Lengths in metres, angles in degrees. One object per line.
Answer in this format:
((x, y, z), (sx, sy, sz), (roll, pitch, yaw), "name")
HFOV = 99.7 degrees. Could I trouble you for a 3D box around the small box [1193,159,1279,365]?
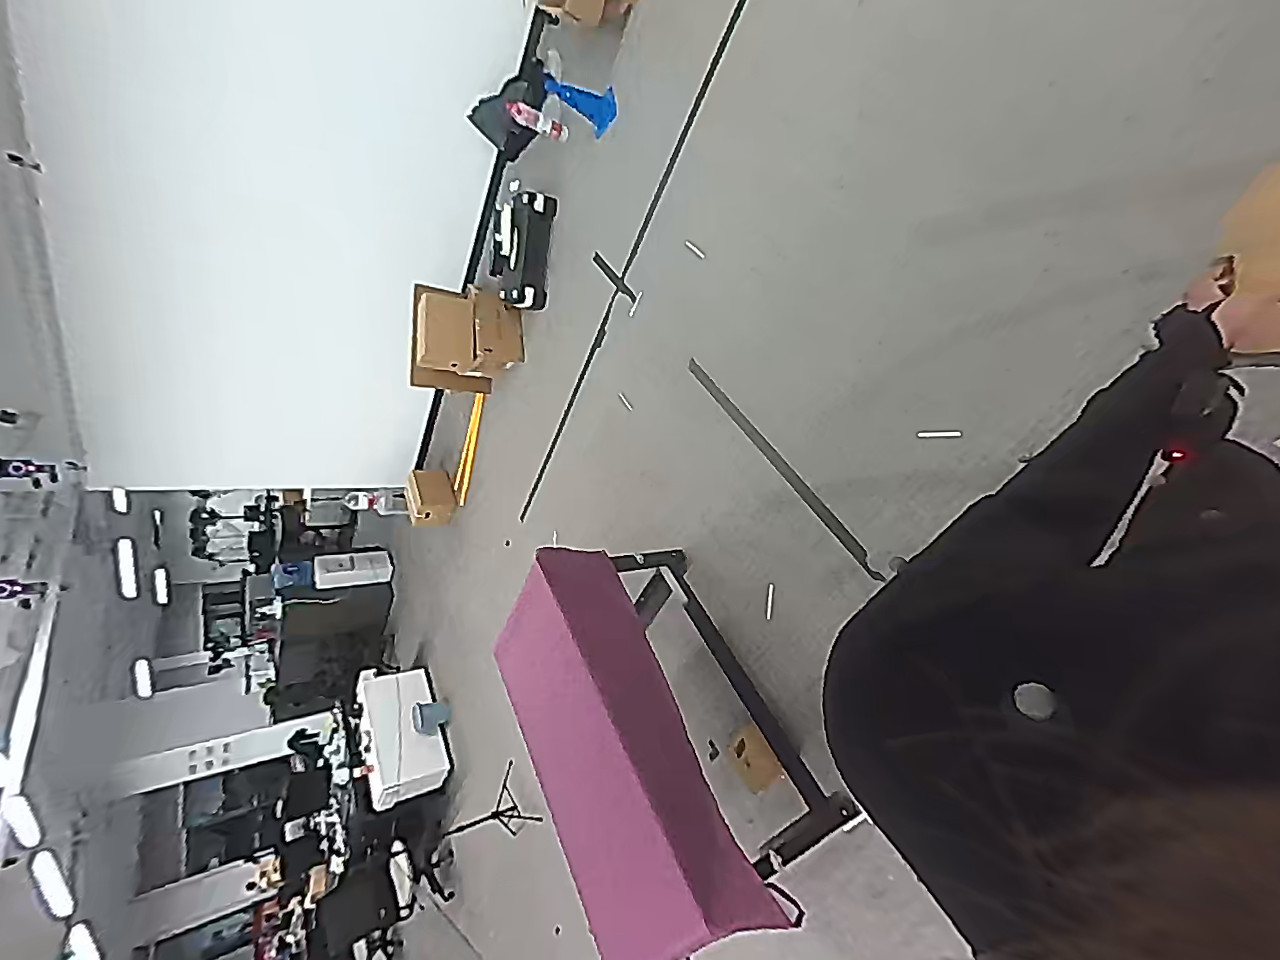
((0.691, -0.209, 0.537), (0.168, 0.176, 0.179), (11, 103, 38), "small box")
